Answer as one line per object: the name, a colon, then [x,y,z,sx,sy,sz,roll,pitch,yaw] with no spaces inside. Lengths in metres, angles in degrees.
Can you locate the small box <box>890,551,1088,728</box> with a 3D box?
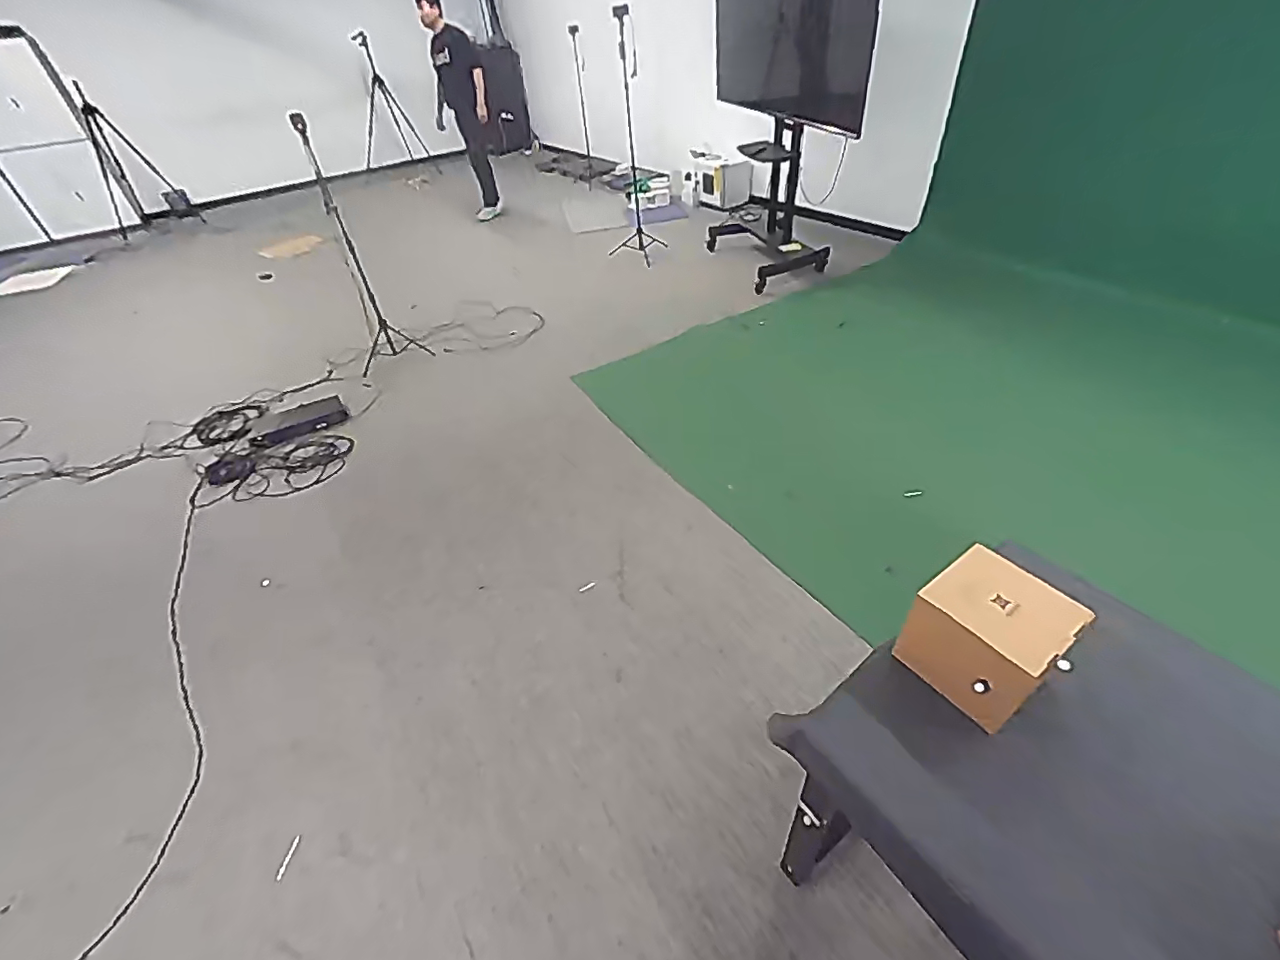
small box: [0.526,0.251,0.838,0.168,0.176,0.179,-26,44,-27]
